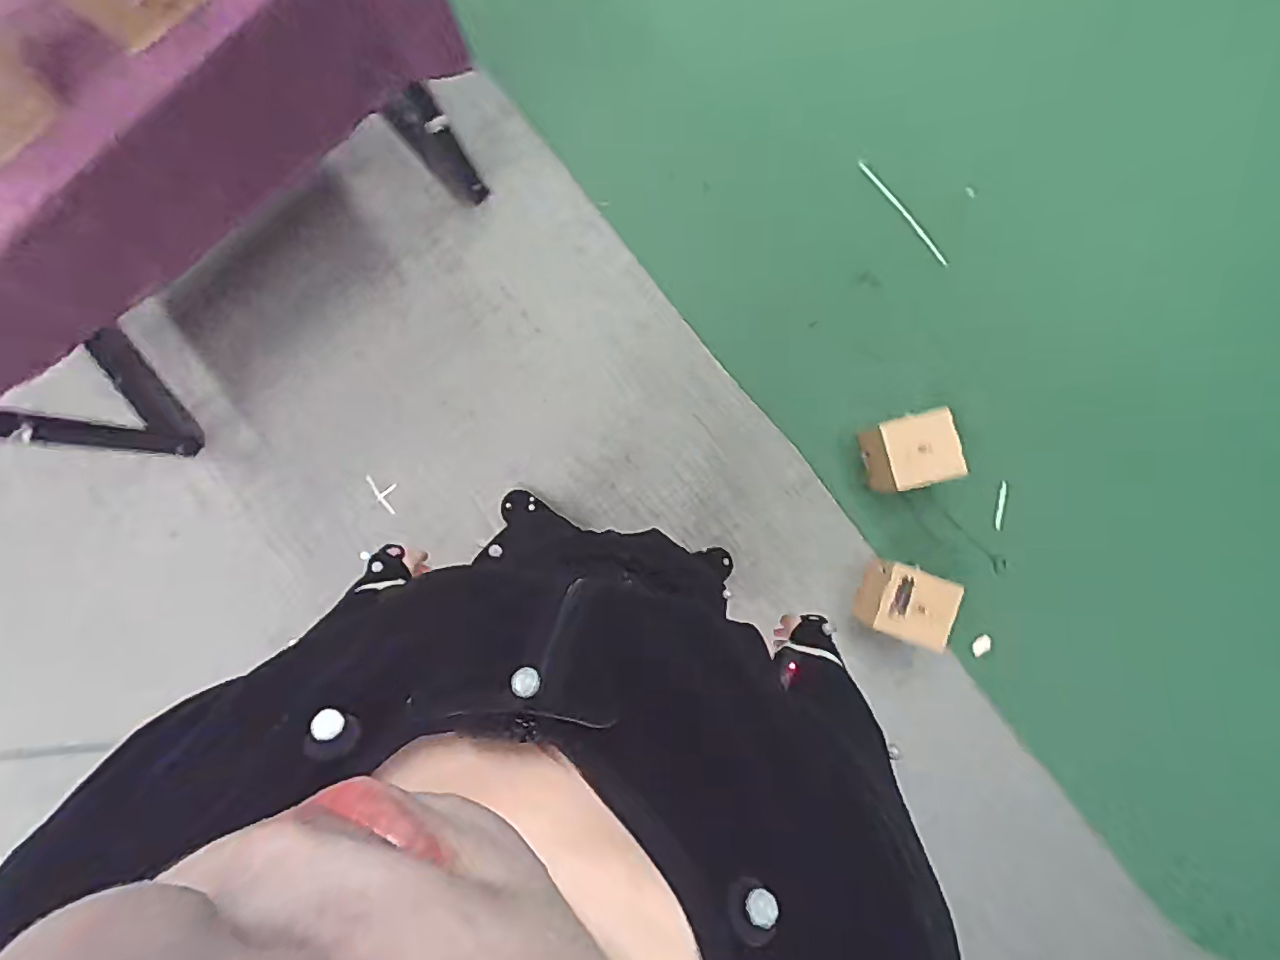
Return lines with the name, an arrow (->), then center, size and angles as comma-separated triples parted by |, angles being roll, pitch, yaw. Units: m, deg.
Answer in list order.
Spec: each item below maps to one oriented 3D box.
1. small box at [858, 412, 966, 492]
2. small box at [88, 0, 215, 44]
small box -> 0.689, -0.067, 1.388 | 0.179, 0.176, 0.168 | -13, 86, 2
small box -> -0.777, -0.801, 0.782 | 0.168, 0.176, 0.179 | -35, 86, 1
